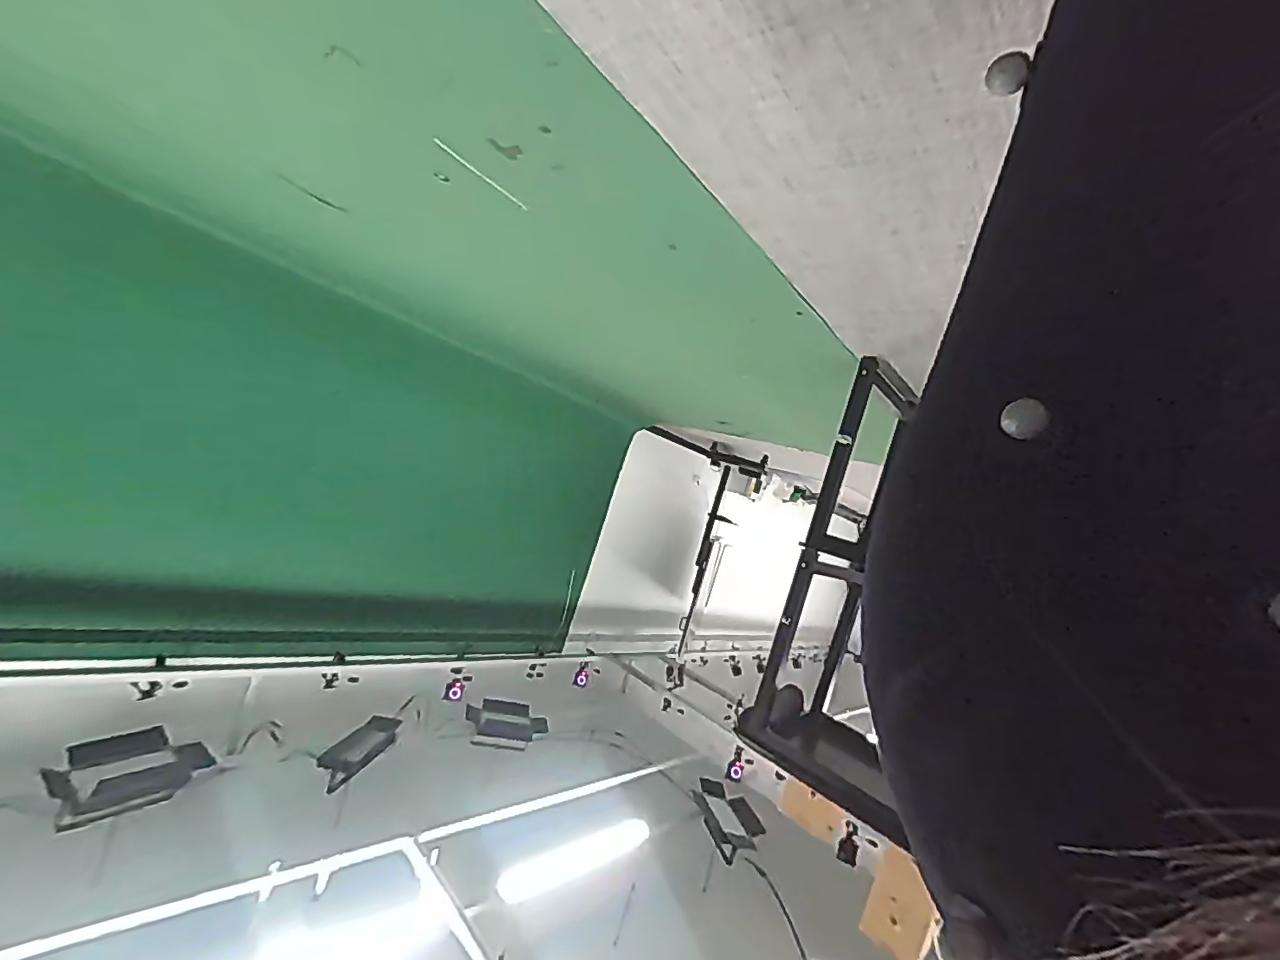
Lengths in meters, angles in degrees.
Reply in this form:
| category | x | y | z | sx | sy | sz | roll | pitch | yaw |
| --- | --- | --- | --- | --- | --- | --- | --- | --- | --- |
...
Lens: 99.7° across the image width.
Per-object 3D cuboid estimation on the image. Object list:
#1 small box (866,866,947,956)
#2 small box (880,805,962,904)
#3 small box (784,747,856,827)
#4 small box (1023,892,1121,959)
| category | x | y | z | sx | sy | sz | roll | pitch | yaw |
| --- | --- | --- | --- | --- | --- | --- | --- | --- | --- |
| small box | 0.831 | 1.304 | 1.681 | 0.168 | 0.176 | 0.179 | 17 | 179 | 42 |
| small box | 0.874 | 1.145 | 1.672 | 0.168 | 0.176 | 0.179 | 17 | 179 | 42 |
| small box | 0.641 | 1.073 | 1.908 | 0.168 | 0.176 | 0.179 | 17 | 178 | 41 |
| small box | 1.121 | 1.224 | 1.403 | 0.168 | 0.176 | 0.179 | 17 | -179 | 44 |
